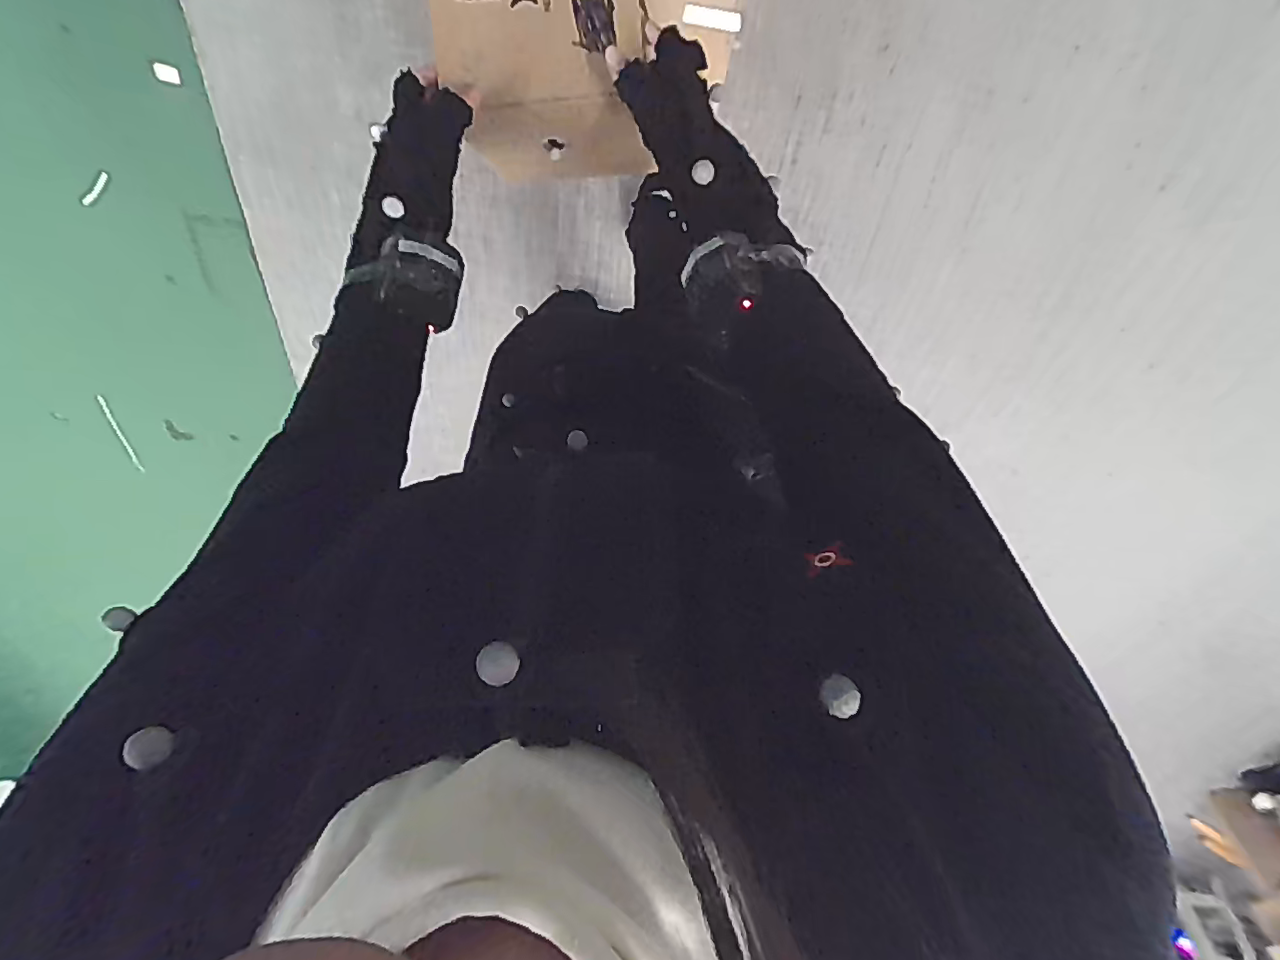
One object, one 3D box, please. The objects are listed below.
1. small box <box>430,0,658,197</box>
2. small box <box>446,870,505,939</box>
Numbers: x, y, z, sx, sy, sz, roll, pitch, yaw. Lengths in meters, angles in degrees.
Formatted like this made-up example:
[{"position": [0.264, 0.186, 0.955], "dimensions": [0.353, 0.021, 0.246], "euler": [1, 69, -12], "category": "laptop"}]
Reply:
[{"position": [-0.075, -0.390, 0.512], "dimensions": [0.179, 0.176, 0.168], "euler": [-3, 99, 8], "category": "small box"}, {"position": [-0.617, 1.609, 2.052], "dimensions": [0.168, 0.176, 0.179], "euler": [8, 131, 1], "category": "small box"}]
